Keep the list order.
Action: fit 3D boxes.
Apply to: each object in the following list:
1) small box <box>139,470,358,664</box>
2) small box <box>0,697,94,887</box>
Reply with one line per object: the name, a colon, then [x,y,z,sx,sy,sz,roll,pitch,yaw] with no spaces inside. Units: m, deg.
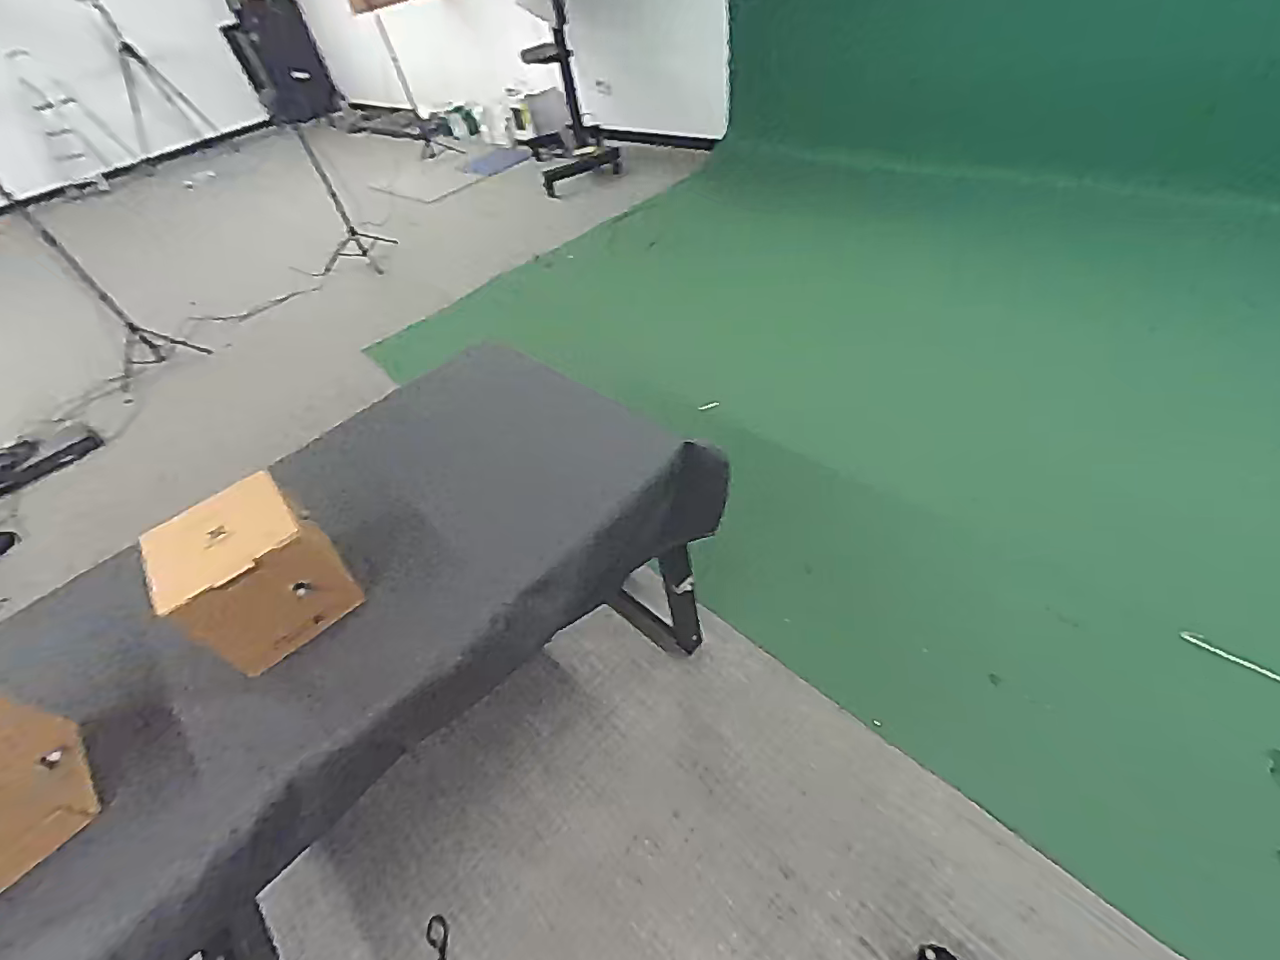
small box: [-0.527,0.125,0.745,0.168,0.176,0.179,-37,50,-24]
small box: [-0.759,0.355,0.576,0.168,0.176,0.179,29,58,33]
